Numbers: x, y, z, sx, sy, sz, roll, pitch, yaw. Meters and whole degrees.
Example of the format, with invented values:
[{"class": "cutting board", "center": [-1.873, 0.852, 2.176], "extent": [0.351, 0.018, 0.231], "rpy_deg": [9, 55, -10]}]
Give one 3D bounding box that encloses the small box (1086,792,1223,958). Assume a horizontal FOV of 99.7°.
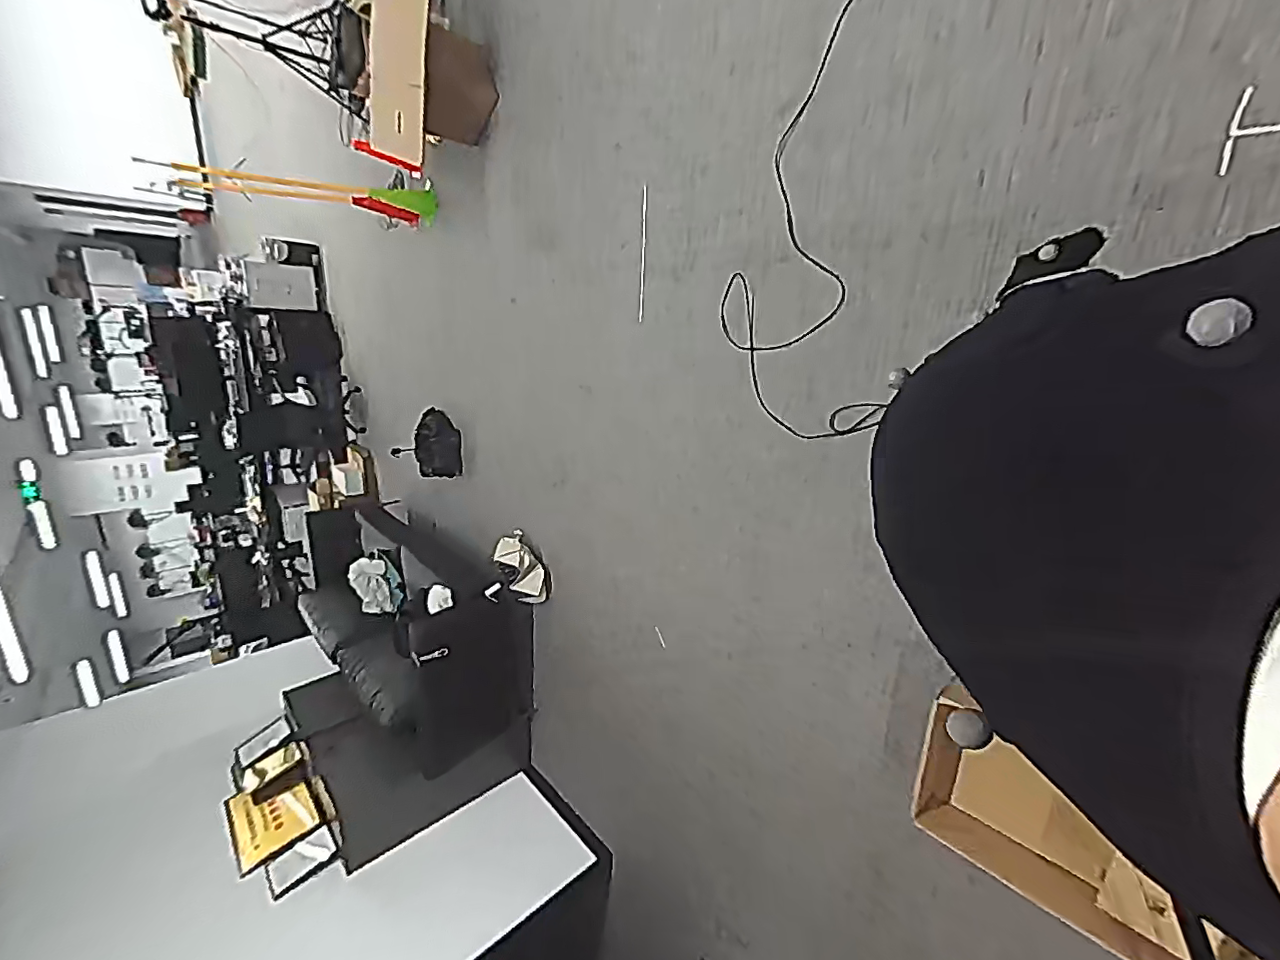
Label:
[{"class": "small box", "center": [1.056, 0.797, 1.110], "extent": [0.168, 0.176, 0.179], "rpy_deg": [20, 115, 44]}]
